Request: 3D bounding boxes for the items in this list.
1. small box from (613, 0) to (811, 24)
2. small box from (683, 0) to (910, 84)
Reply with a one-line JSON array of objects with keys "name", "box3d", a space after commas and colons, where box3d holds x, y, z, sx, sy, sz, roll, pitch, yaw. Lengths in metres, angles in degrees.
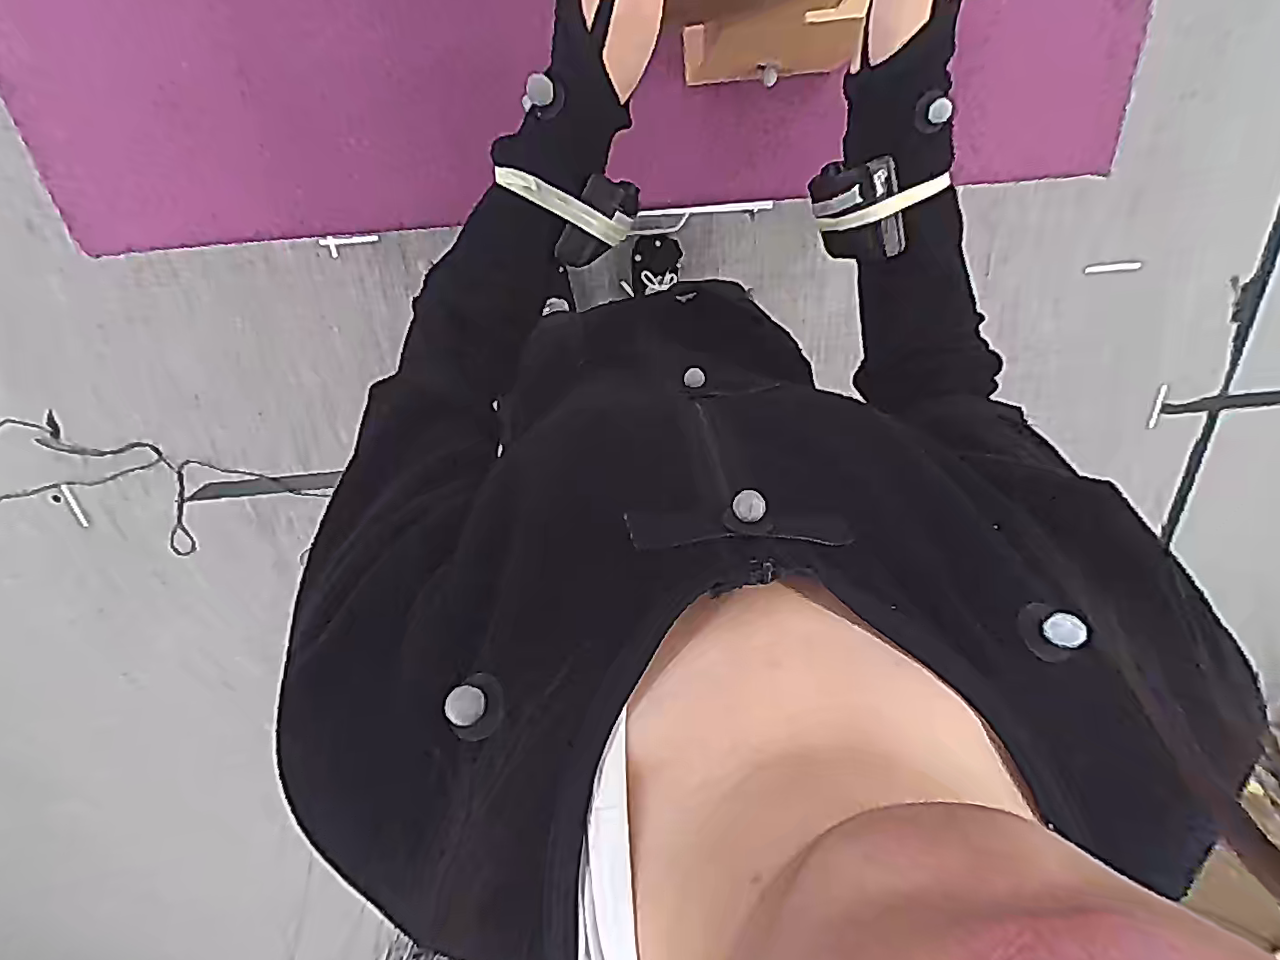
[{"name": "small box", "box3d": [0.062, -0.406, 0.316, 0.179, 0.176, 0.168, -6, 111, 1]}, {"name": "small box", "box3d": [0.128, -0.486, 0.483, 0.168, 0.176, 0.179, -6, 115, -2]}]
